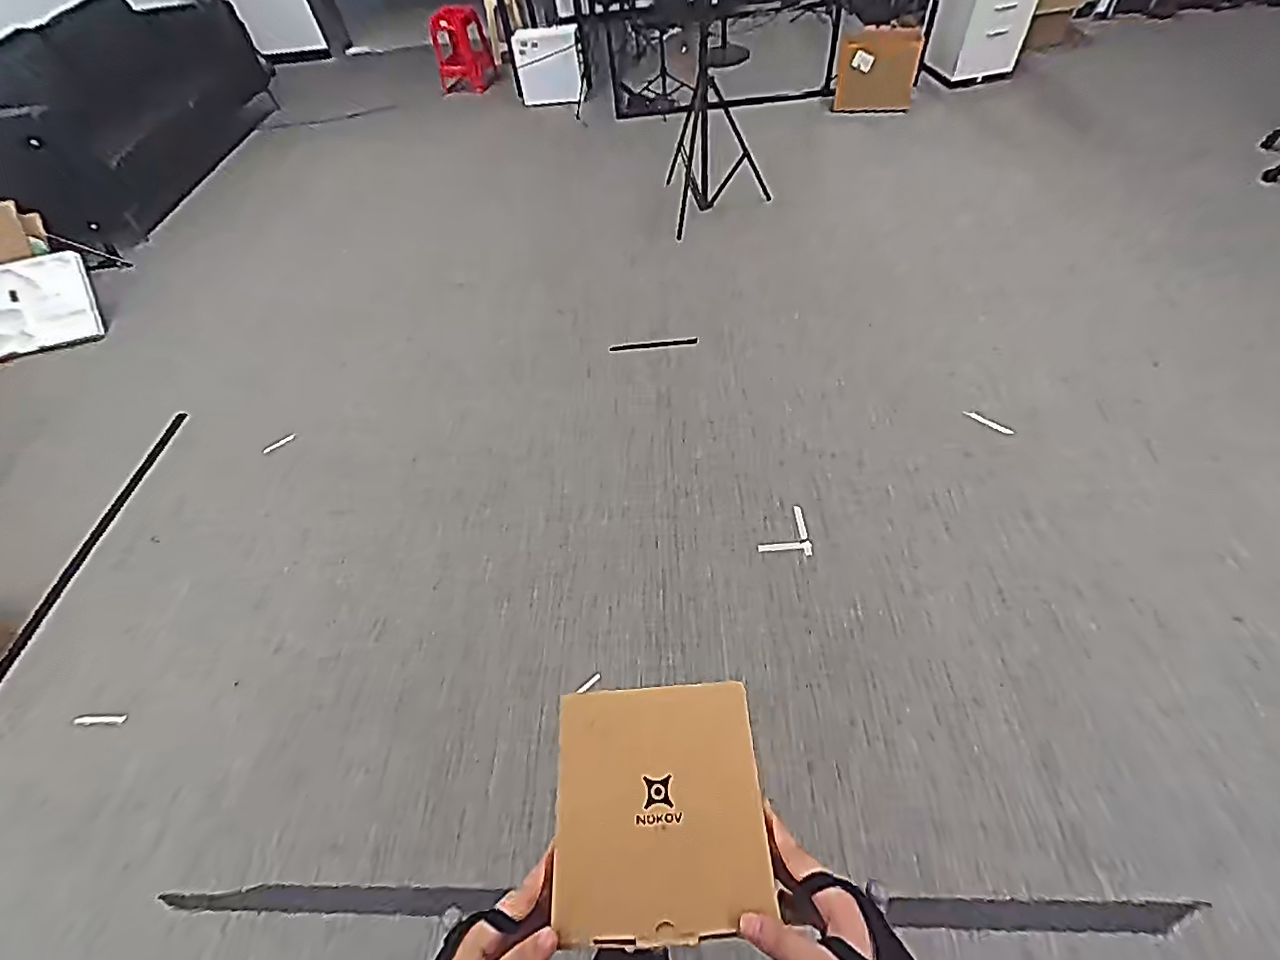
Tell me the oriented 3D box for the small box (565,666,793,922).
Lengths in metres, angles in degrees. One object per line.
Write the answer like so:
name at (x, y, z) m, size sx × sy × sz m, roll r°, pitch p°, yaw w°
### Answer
small box at (0.030, 0.289, 0.497) m, size 0.168 × 0.176 × 0.179 m, roll -5°, pitch 53°, yaw 2°
